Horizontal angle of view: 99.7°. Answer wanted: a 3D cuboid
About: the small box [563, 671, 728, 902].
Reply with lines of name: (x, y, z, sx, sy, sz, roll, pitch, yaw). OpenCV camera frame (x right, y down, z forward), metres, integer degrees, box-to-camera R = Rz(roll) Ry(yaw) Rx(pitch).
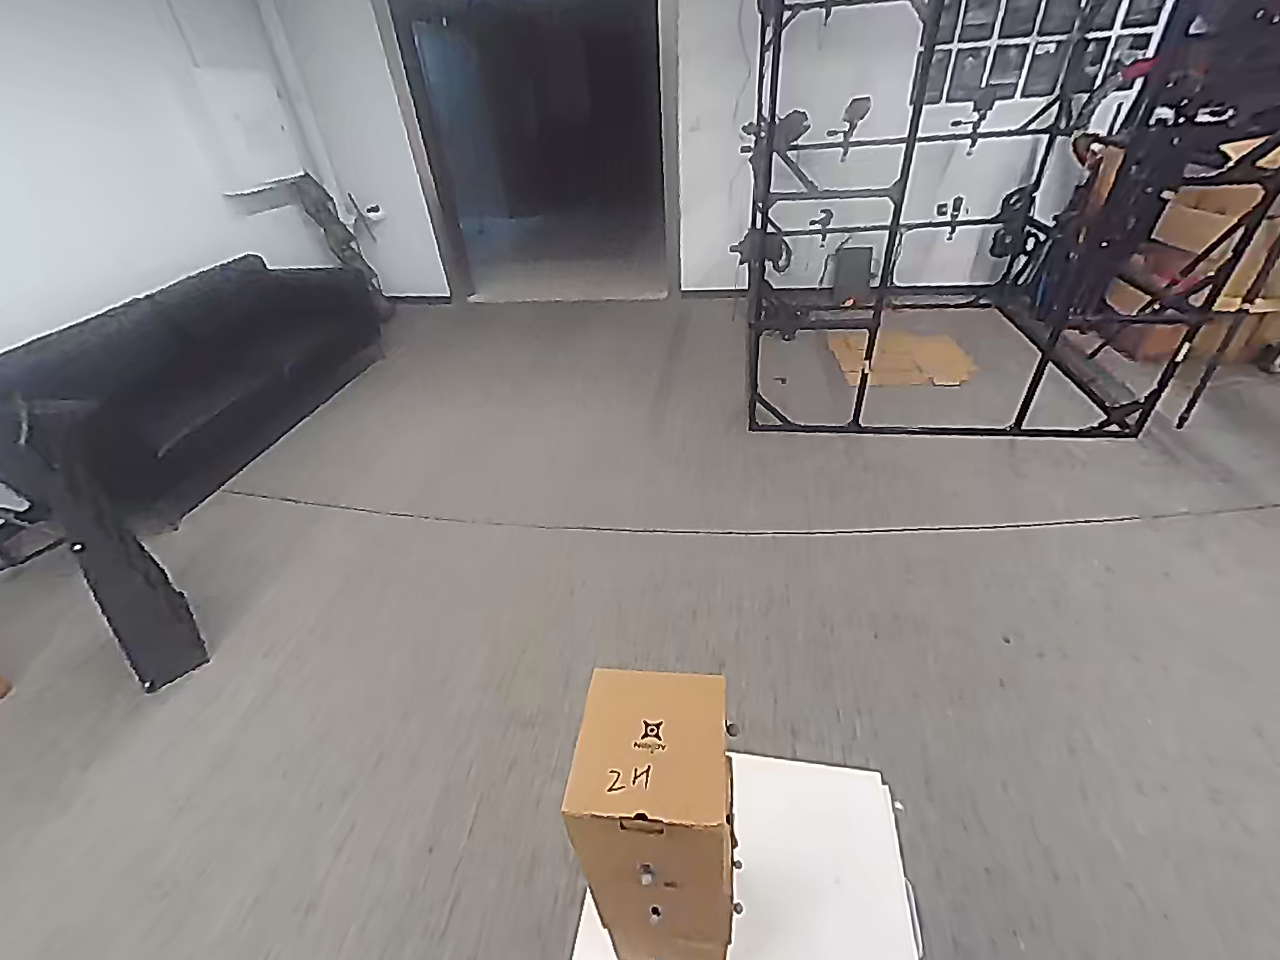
small box: (0.019, 0.358, 0.644, 0.168, 0.176, 0.179, 0, 34, 9)

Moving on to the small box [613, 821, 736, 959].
small box: (0.054, 0.630, 0.825, 0.168, 0.176, 0.179, 4, 36, 12)

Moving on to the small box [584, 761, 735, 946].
small box: (0.037, 0.496, 0.731, 0.179, 0.176, 0.168, 0, 34, 9)
